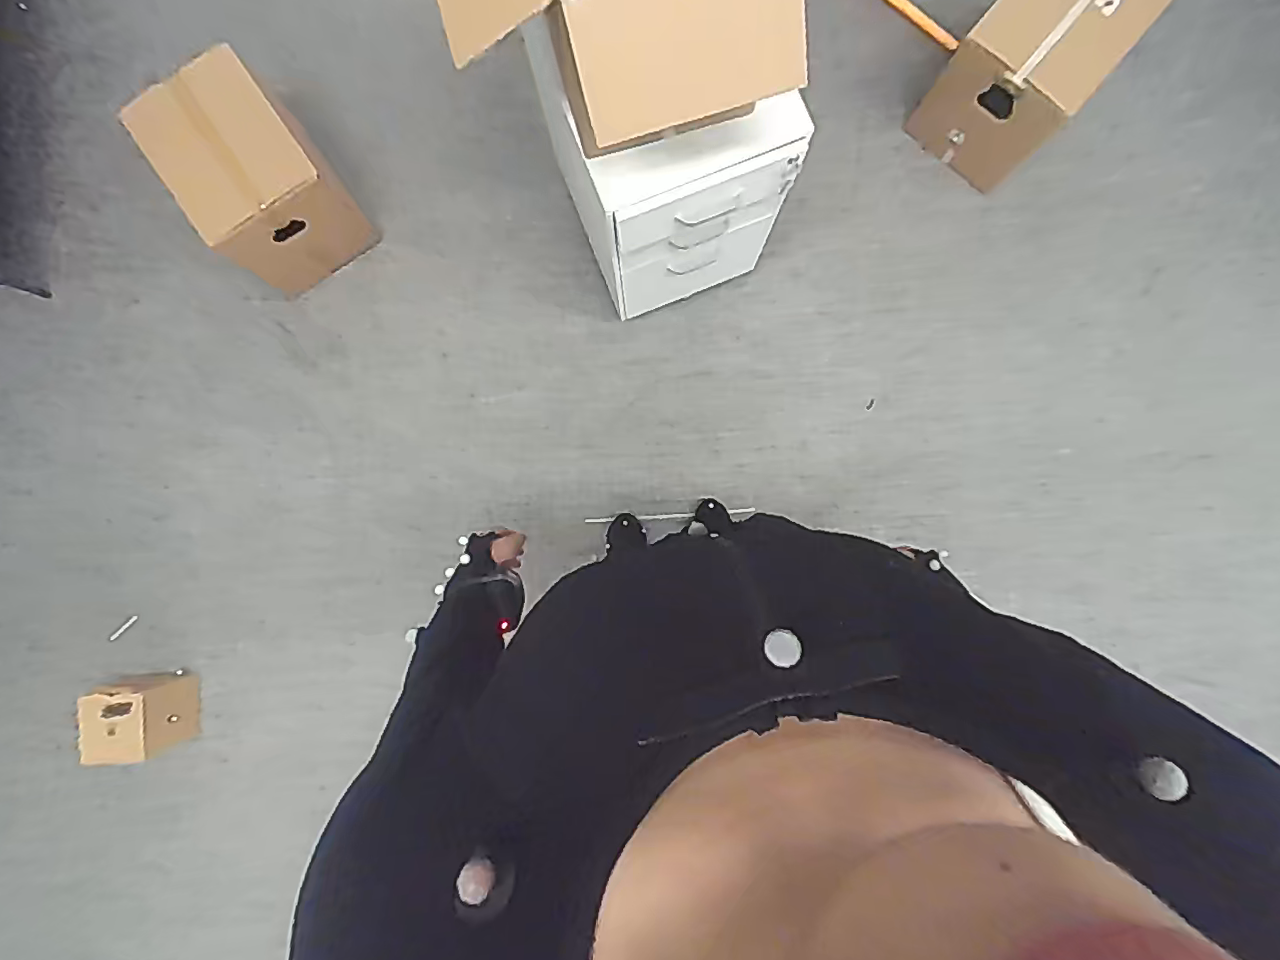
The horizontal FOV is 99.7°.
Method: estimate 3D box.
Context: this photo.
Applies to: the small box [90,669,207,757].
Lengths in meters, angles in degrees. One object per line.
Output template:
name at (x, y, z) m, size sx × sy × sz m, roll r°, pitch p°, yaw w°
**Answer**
small box at (-1.296, 0.608, 1.436) m, size 0.168 × 0.176 × 0.179 m, roll -3°, pitch 87°, yaw 1°
